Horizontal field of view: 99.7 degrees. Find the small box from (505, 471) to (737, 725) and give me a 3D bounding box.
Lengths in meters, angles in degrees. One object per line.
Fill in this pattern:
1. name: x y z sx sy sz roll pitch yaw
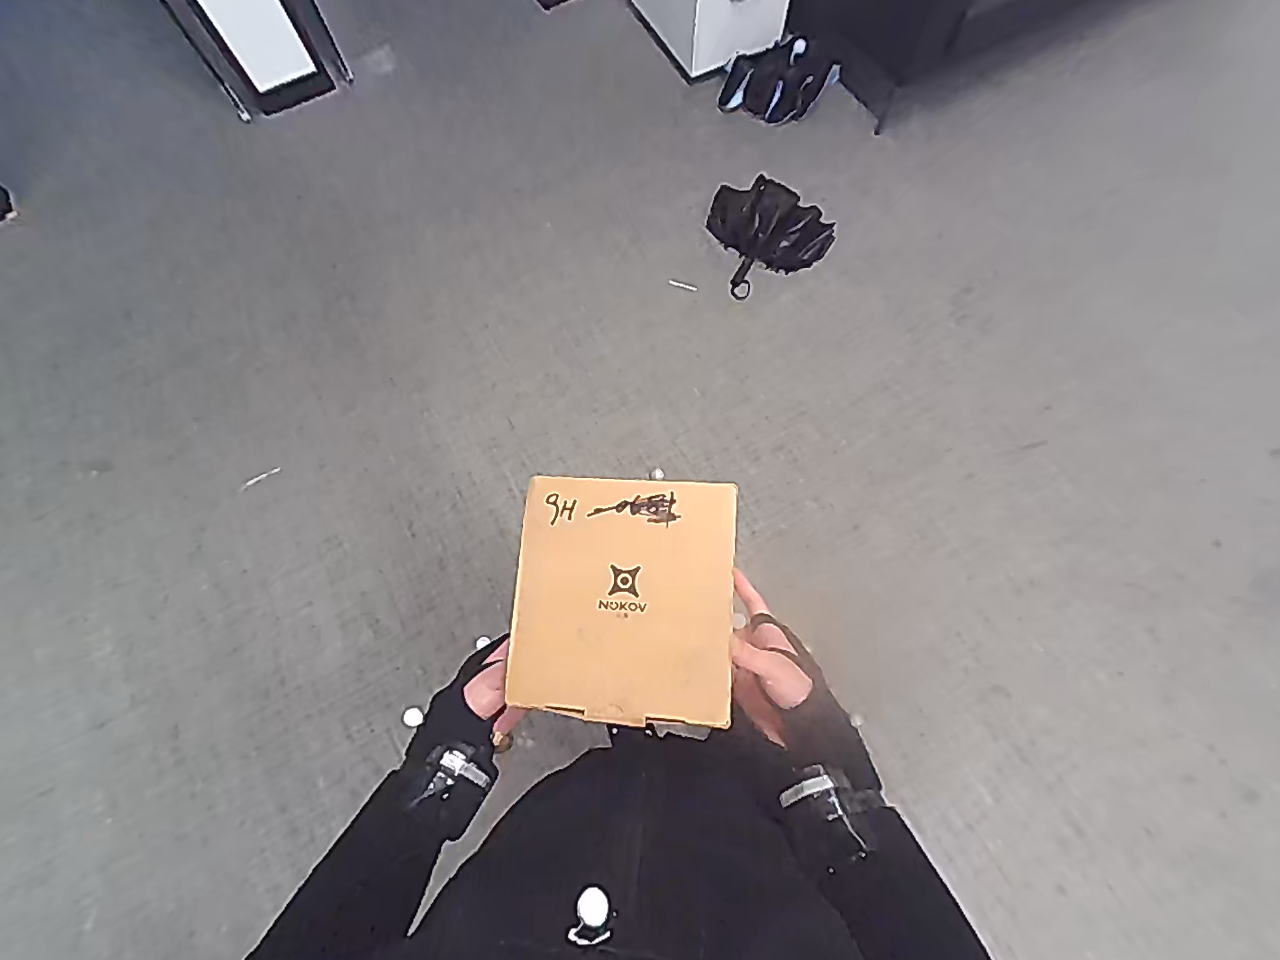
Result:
1. small box: -0.006 0.097 0.479 0.168 0.176 0.179 3 79 5
